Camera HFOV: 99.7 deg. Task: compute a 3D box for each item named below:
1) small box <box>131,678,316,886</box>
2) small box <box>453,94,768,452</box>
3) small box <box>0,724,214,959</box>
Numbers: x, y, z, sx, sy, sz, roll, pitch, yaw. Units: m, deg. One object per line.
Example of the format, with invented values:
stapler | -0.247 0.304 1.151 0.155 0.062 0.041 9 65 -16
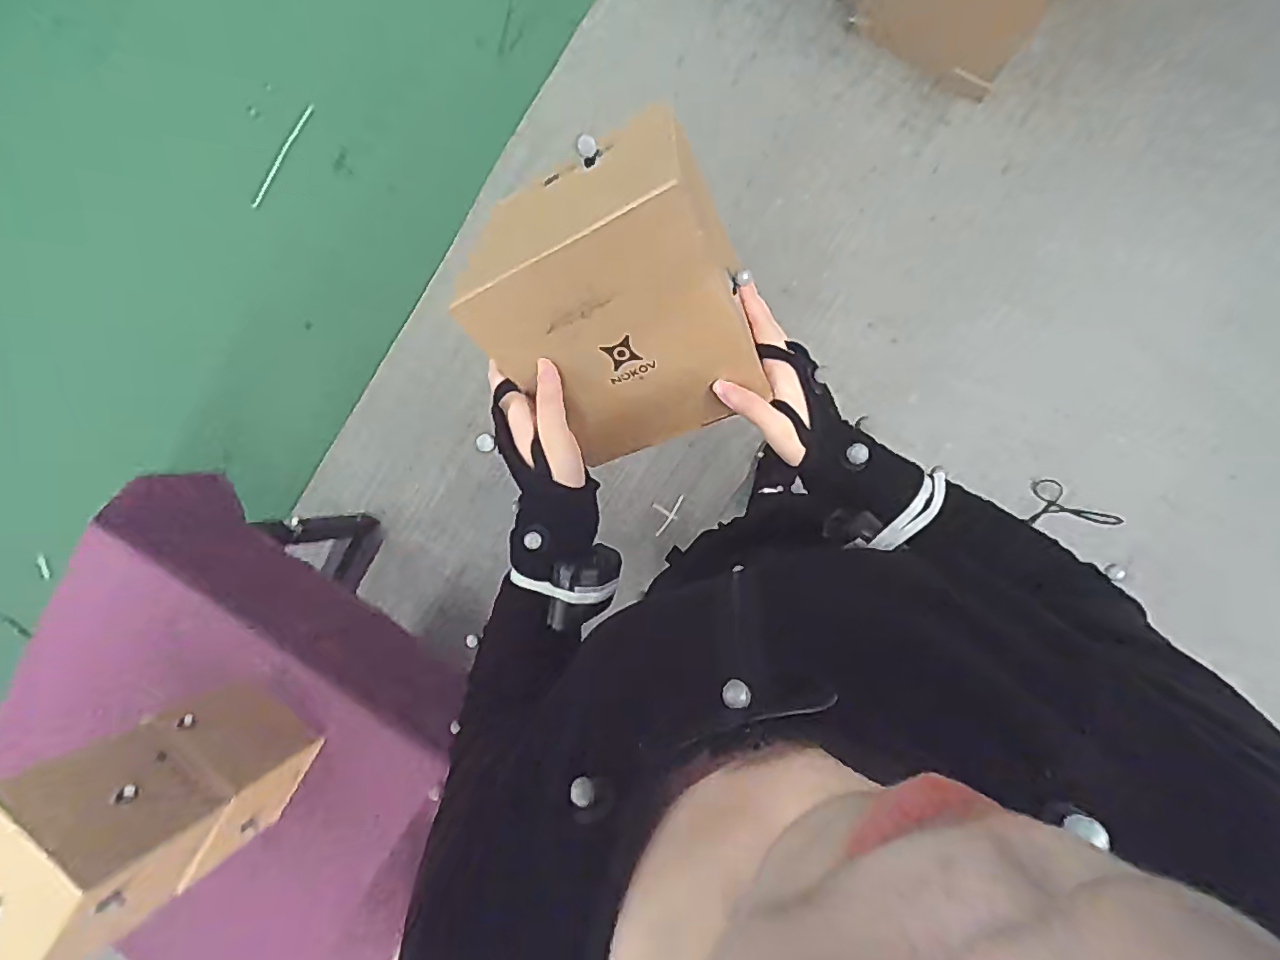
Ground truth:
small box | -0.630 0.425 0.798 0.179 0.176 0.168 33 94 8
small box | -0.009 -0.156 0.427 0.168 0.179 0.176 -18 44 20
small box | -0.658 0.429 0.635 0.168 0.176 0.179 35 95 8
